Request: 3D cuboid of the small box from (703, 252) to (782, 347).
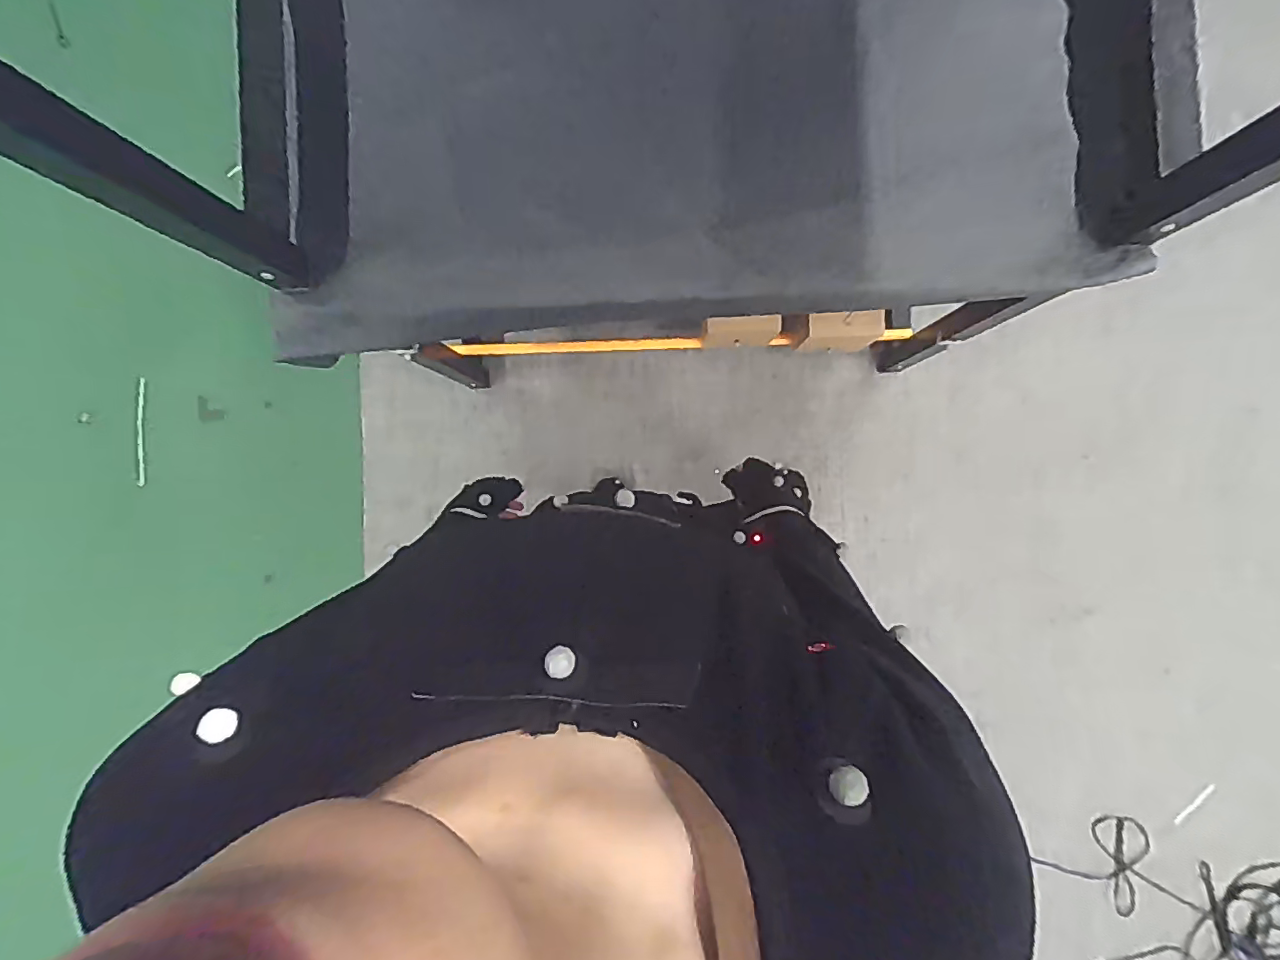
[{"bbox_3d":[0.238,-0.417,1.279,0.168,0.176,0.179,-2,91,4],"label":"small box"}]
